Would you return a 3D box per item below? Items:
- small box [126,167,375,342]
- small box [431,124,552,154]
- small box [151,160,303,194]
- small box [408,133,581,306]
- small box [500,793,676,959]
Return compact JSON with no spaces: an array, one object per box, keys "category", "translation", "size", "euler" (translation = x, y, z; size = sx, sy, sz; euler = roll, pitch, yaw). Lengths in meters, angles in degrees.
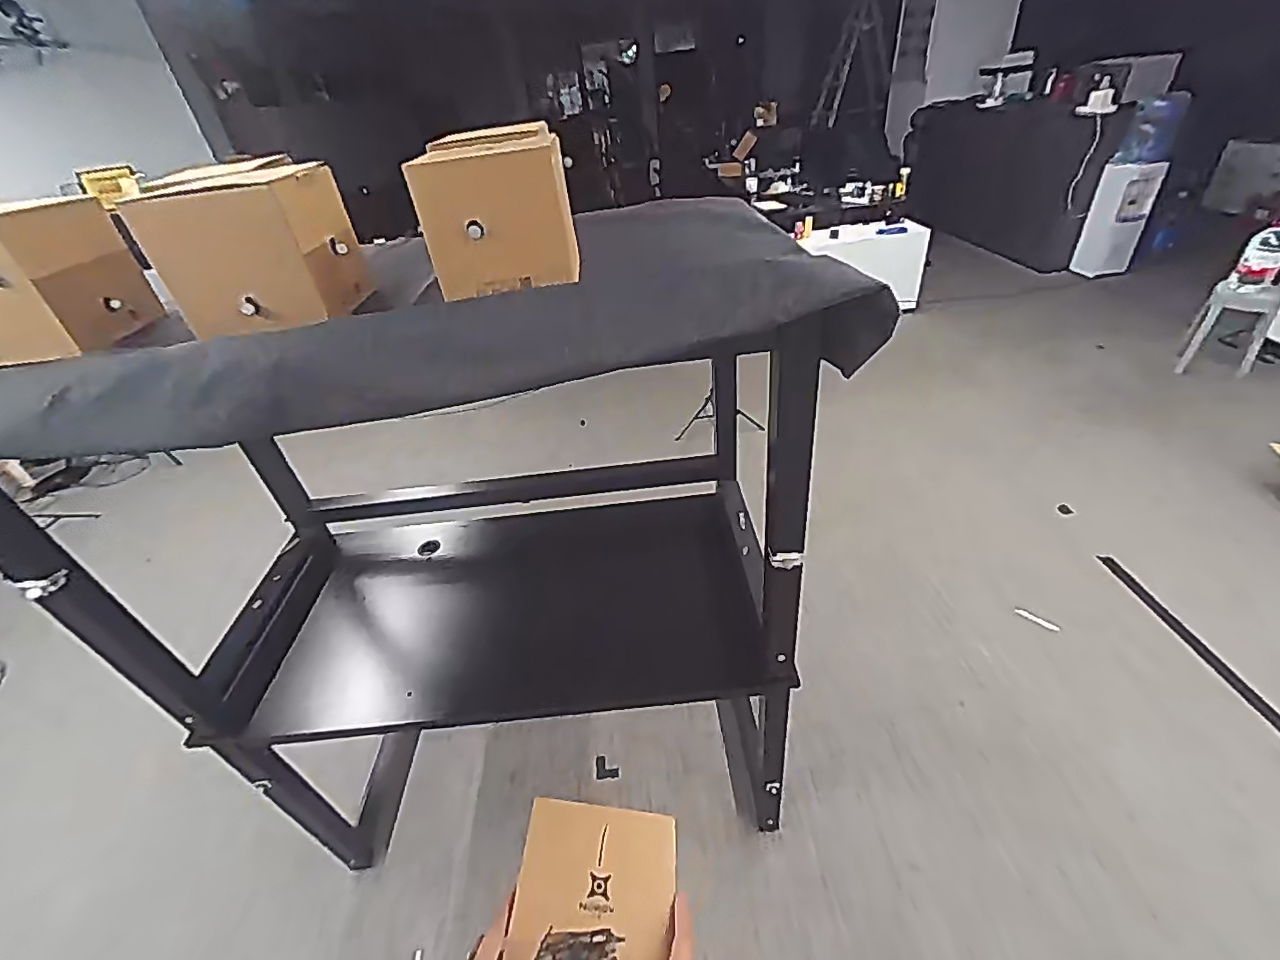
[{"category":"small box","translation":[-0.479,-0.294,0.705],"size":[0.179,0.176,0.168],"euler":[-7,36,0]},{"category":"small box","translation":[-0.229,-0.499,0.932],"size":[0.179,0.176,0.168],"euler":[-7,37,2]},{"category":"small box","translation":[-0.657,-0.434,0.926],"size":[0.168,0.176,0.179],"euler":[-12,37,-3]},{"category":"small box","translation":[-0.171,-0.334,0.702],"size":[0.168,0.176,0.179],"euler":[-8,35,0]},{"category":"small box","translation":[-0.057,0.483,0.593],"size":[0.168,0.176,0.179],"euler":[10,33,-3]}]
